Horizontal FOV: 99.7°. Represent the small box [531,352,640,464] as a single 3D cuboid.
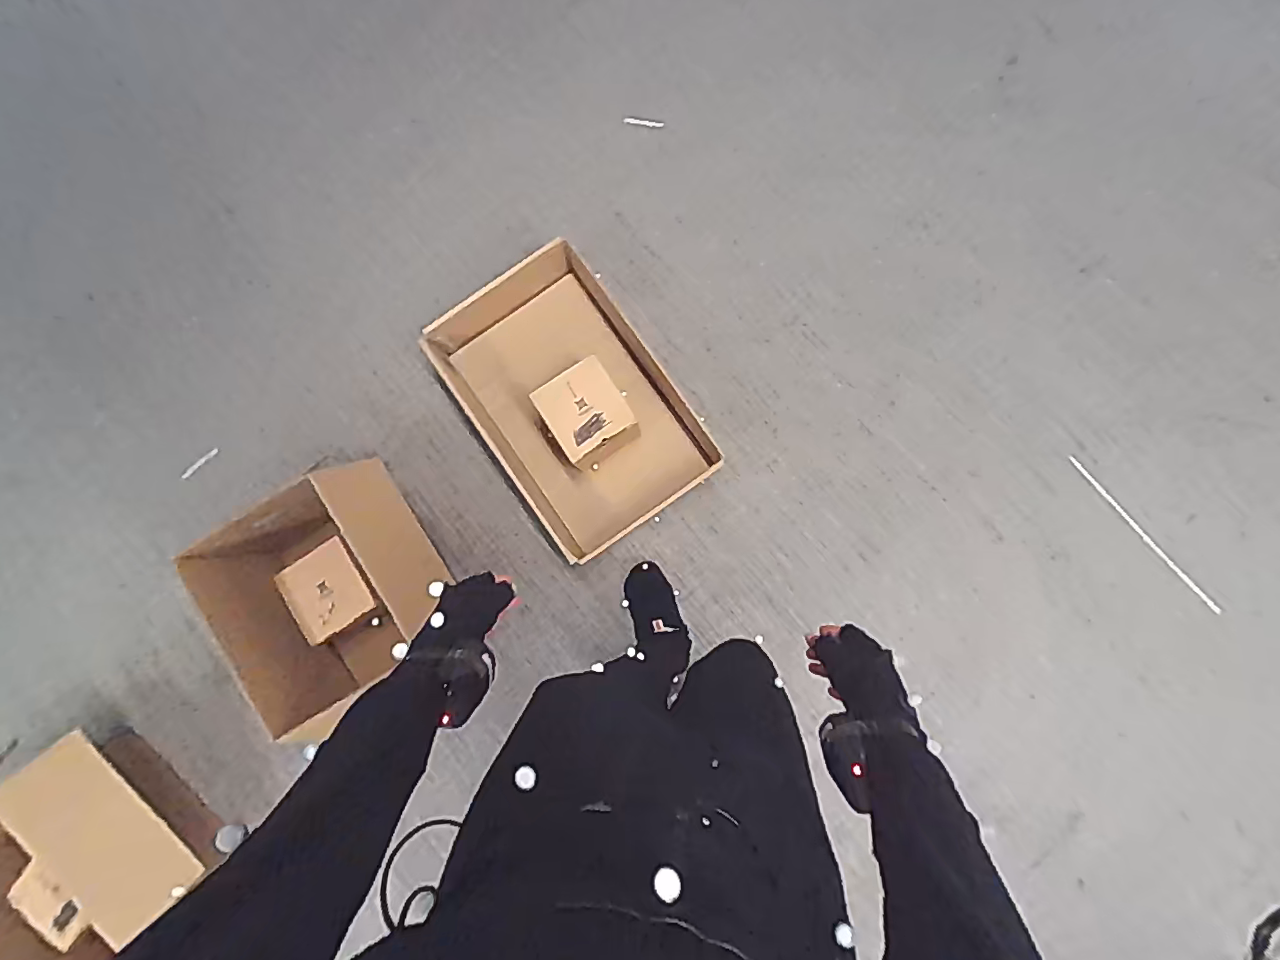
[{"bbox_3d":[-0.112,-0.149,1.201,0.168,0.176,0.179,-33,84,-1],"label":"small box"}]
